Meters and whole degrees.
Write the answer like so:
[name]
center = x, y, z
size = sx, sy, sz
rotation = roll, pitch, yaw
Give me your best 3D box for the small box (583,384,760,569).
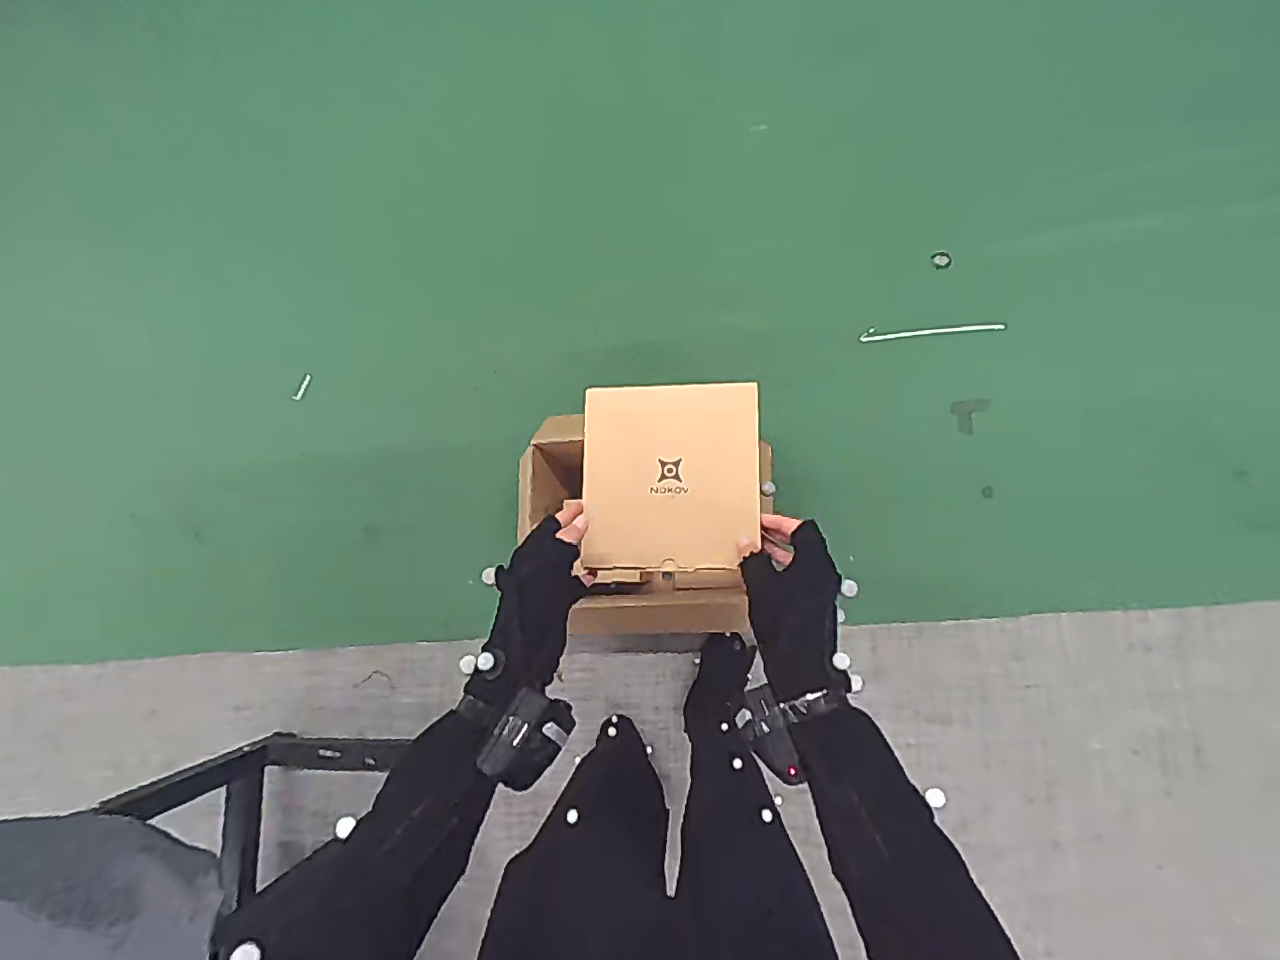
[small box]
center = 0.038, 0.007, 0.586
size = 0.168, 0.176, 0.179
rotation = -1, 82, 8
